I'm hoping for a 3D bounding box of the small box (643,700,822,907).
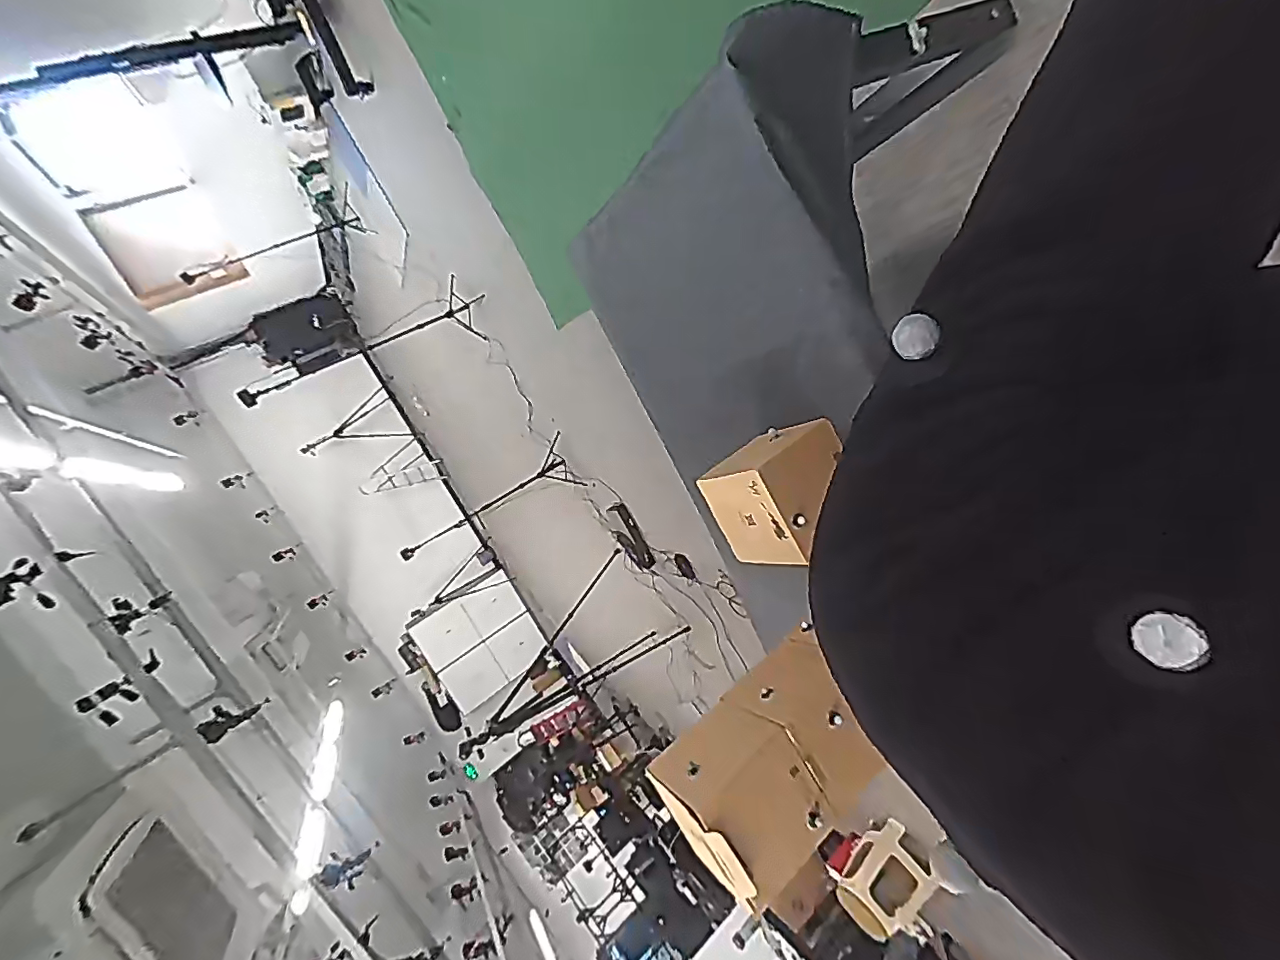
[{"bbox_3d":[0.140,0.456,0.800,0.168,0.176,0.179,59,157,-4],"label":"small box"}]

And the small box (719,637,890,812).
[{"bbox_3d":[0.266,0.373,0.865,0.168,0.176,0.179,60,157,-5],"label":"small box"}]

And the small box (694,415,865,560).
[{"bbox_3d":[0.226,0.012,0.887,0.168,0.176,0.179,60,156,-8],"label":"small box"}]
